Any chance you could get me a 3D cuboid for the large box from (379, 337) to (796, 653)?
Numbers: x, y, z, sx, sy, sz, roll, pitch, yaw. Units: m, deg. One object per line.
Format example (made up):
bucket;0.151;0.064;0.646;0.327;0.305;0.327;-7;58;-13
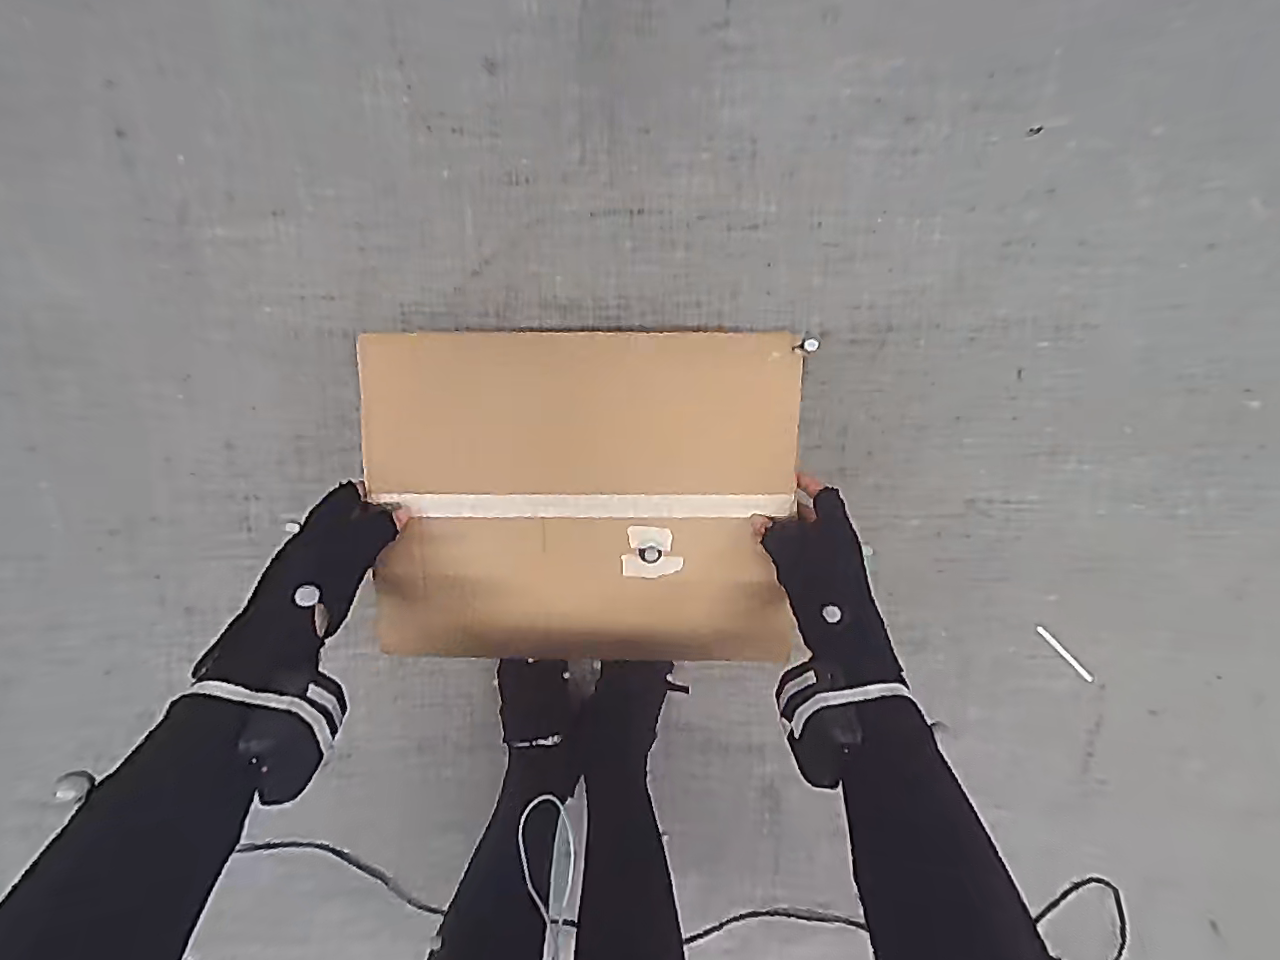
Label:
large box;-0.050;0.004;0.675;0.408;0.320;0.320;0;98;1
